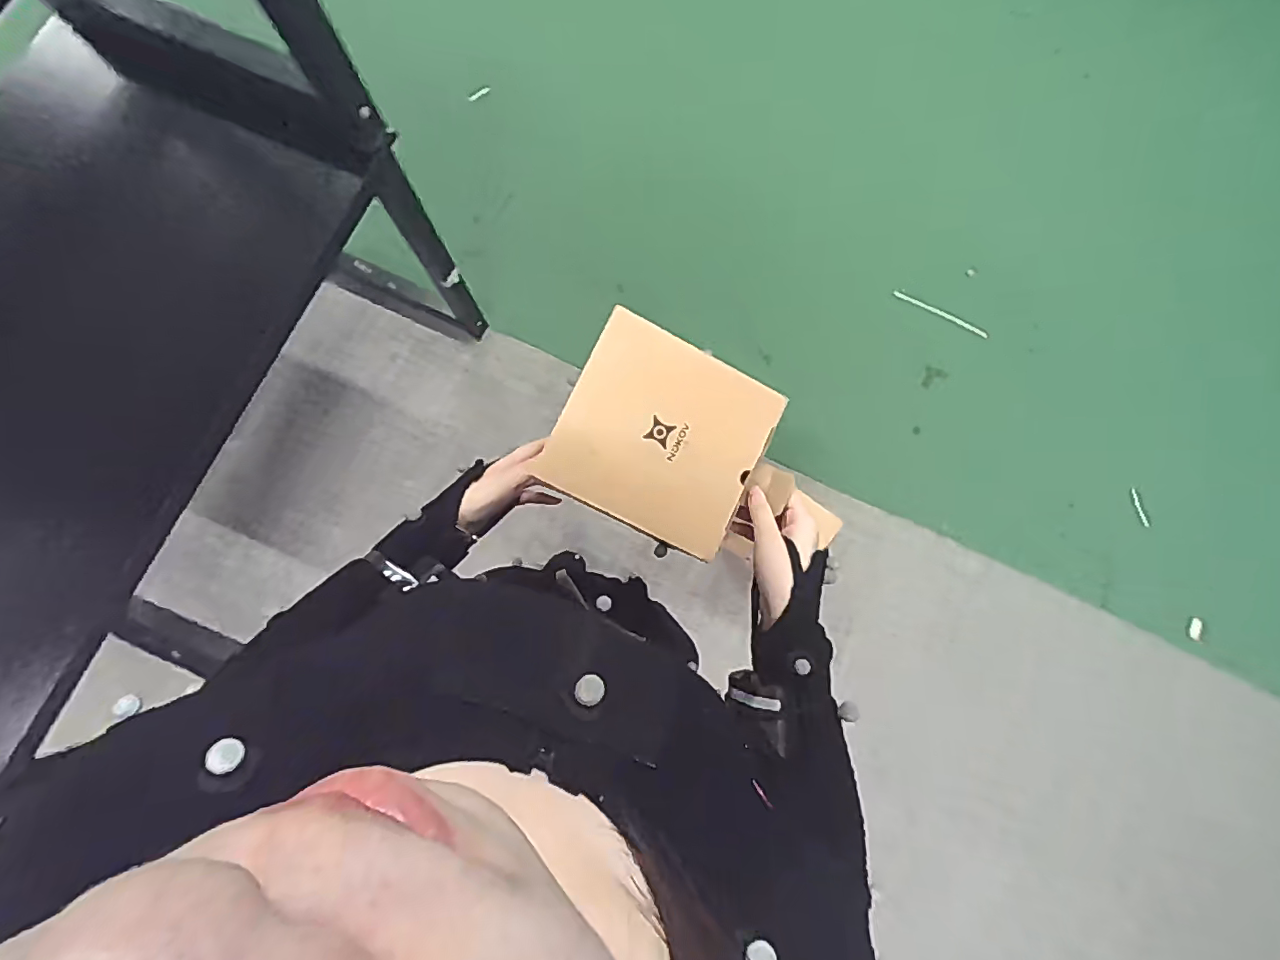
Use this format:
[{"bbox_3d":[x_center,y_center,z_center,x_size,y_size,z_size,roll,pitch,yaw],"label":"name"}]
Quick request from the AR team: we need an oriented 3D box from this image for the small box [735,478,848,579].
[{"bbox_3d":[0.350,0.120,1.290,0.179,0.176,0.168,36,83,3],"label":"small box"}]
